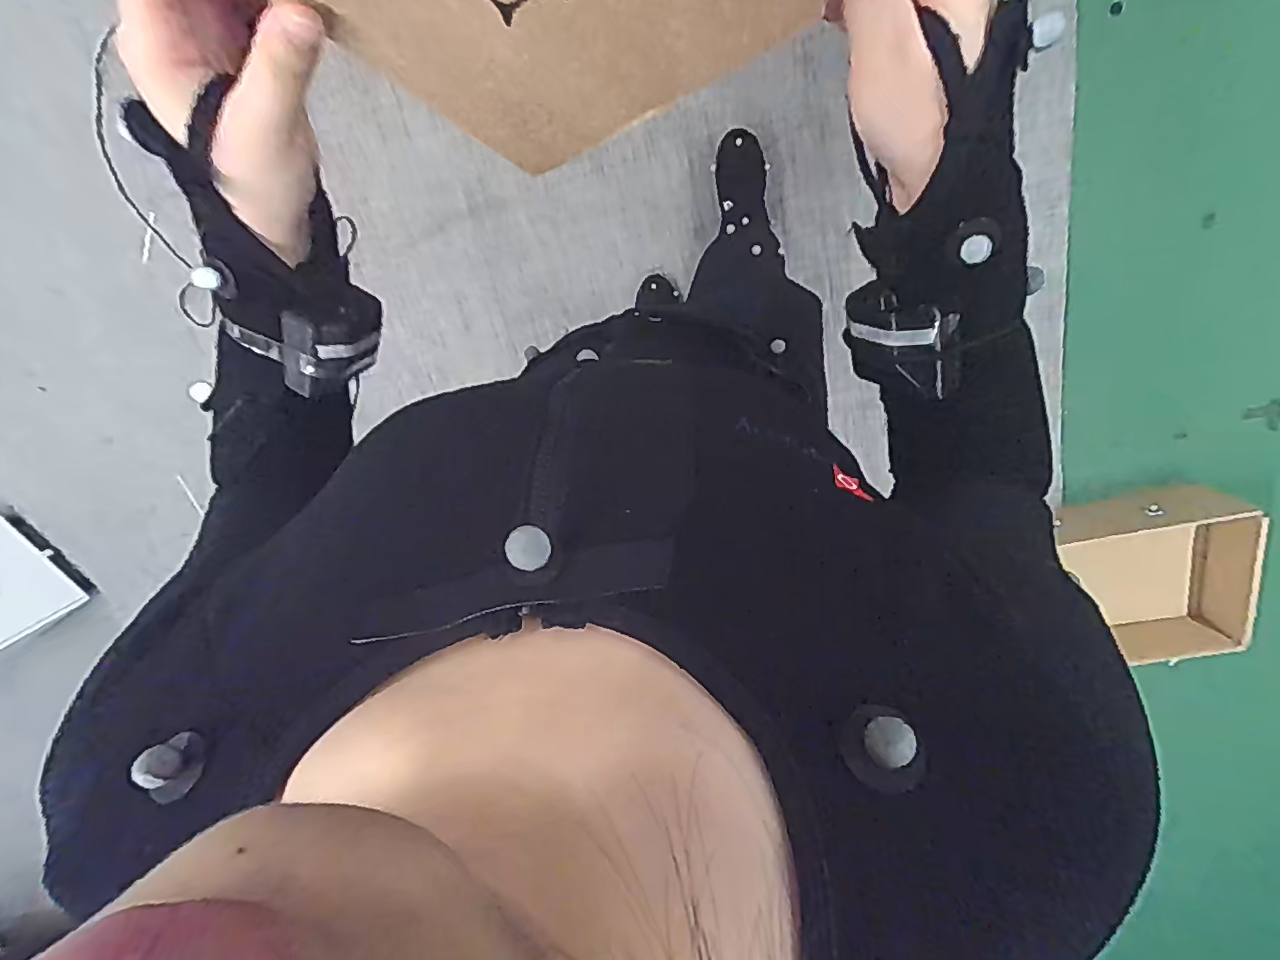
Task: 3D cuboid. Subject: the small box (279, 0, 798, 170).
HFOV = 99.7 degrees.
[{"bbox_3d":[-0.049,-0.274,0.212,0.179,0.168,0.176,-4,83,37],"label":"small box"}]
